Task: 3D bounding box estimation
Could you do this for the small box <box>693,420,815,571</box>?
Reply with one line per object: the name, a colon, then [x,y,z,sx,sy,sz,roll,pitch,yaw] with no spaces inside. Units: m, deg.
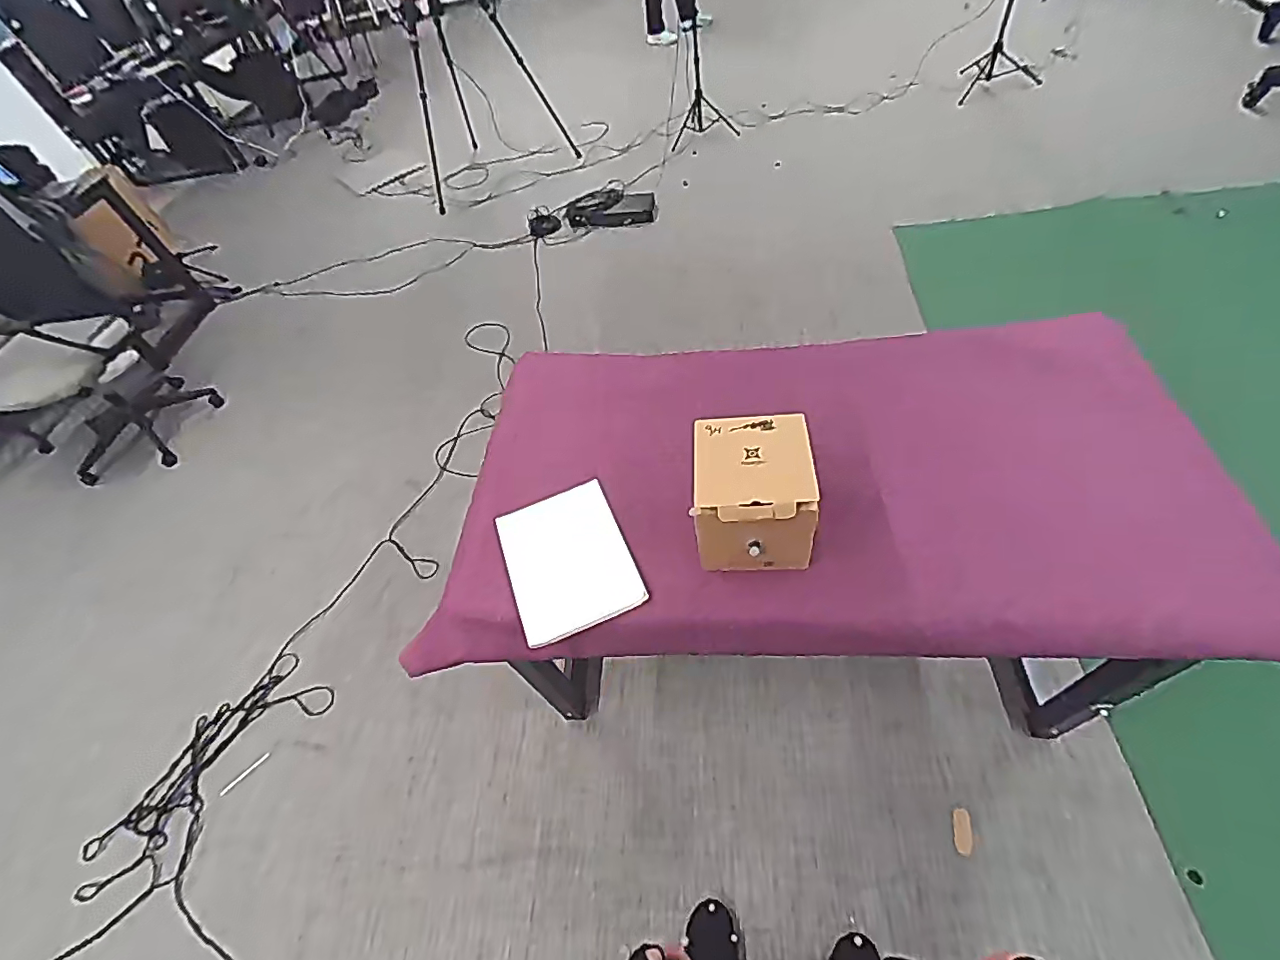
small box: [0.172,0.030,0.836,0.168,0.176,0.179,-2,53,10]
